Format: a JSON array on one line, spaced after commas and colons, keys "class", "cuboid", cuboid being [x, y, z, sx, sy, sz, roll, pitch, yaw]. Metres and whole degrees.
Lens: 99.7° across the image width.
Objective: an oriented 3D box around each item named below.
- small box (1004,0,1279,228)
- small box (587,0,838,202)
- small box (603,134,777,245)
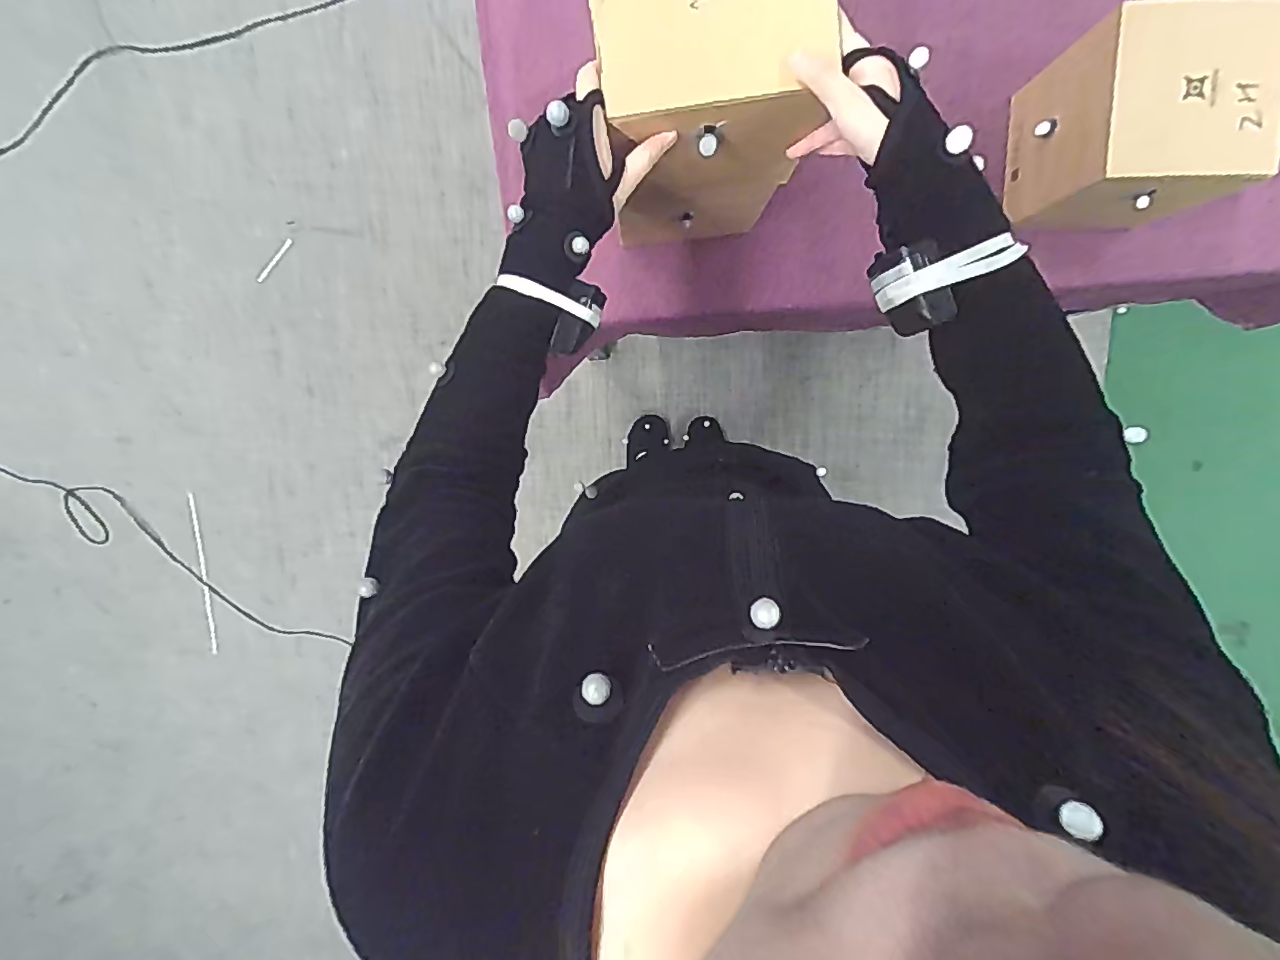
[{"class": "small box", "cuboid": [0.555, -0.398, 0.615, 0.179, 0.176, 0.168, 0, 98, 1]}, {"class": "small box", "cuboid": [0.052, -0.362, 0.461, 0.179, 0.176, 0.168, -6, 97, 4]}, {"class": "small box", "cuboid": [0.049, -0.387, 0.626, 0.179, 0.176, 0.168, -6, 97, 3]}]
